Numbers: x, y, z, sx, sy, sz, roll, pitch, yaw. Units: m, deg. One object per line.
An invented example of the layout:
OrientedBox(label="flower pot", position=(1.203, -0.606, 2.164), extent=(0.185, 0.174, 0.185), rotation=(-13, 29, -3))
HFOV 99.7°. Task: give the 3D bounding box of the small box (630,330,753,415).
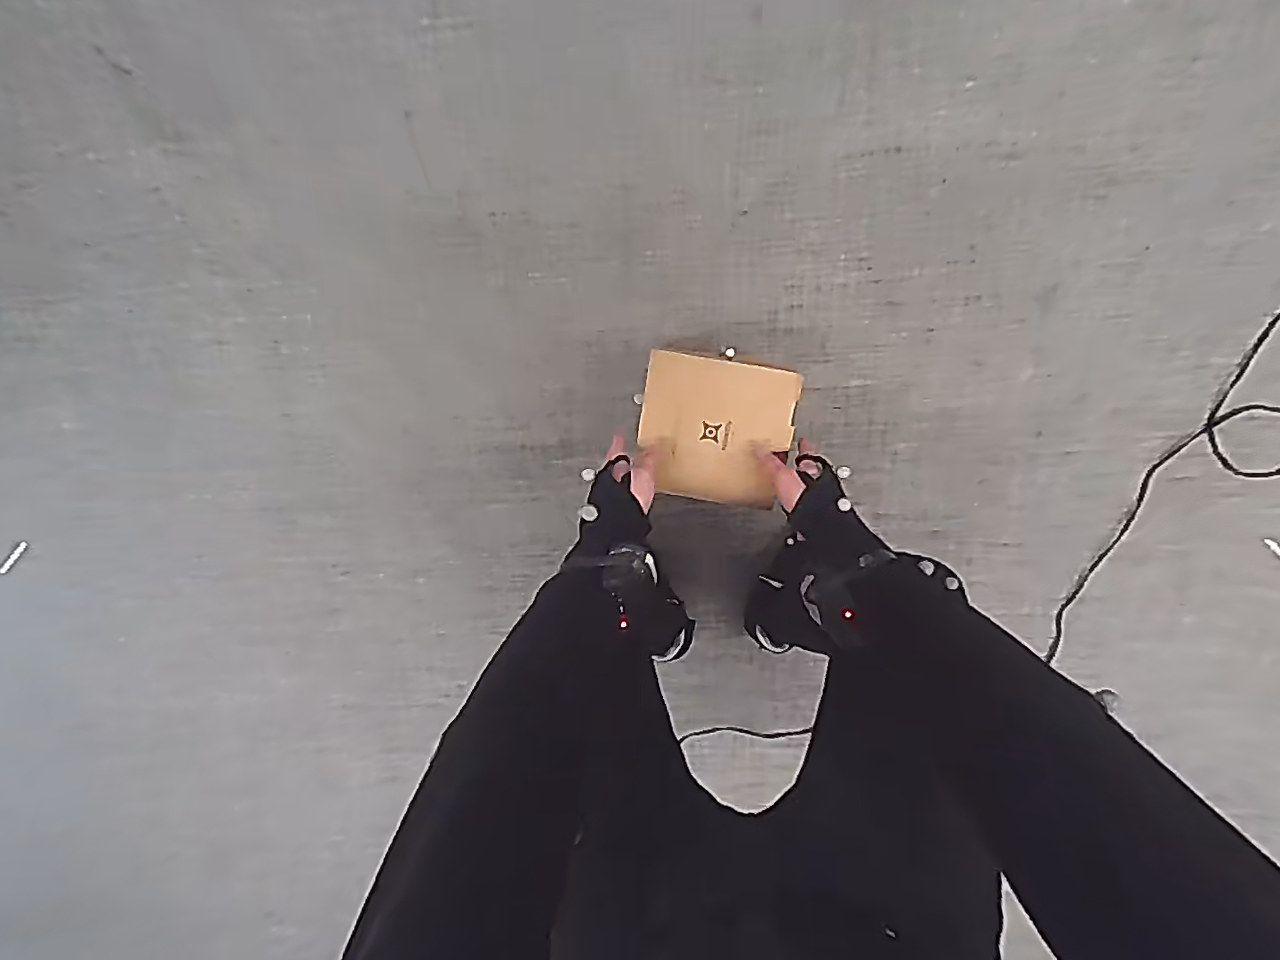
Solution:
OrientedBox(label="small box", position=(0.106, -0.122, 0.858), extent=(0.179, 0.176, 0.168), rotation=(-24, 100, 13))

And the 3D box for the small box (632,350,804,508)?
OrientedBox(label="small box", position=(0.095, -0.076, 0.710), extent=(0.179, 0.176, 0.168), rotation=(10, 104, 4))
